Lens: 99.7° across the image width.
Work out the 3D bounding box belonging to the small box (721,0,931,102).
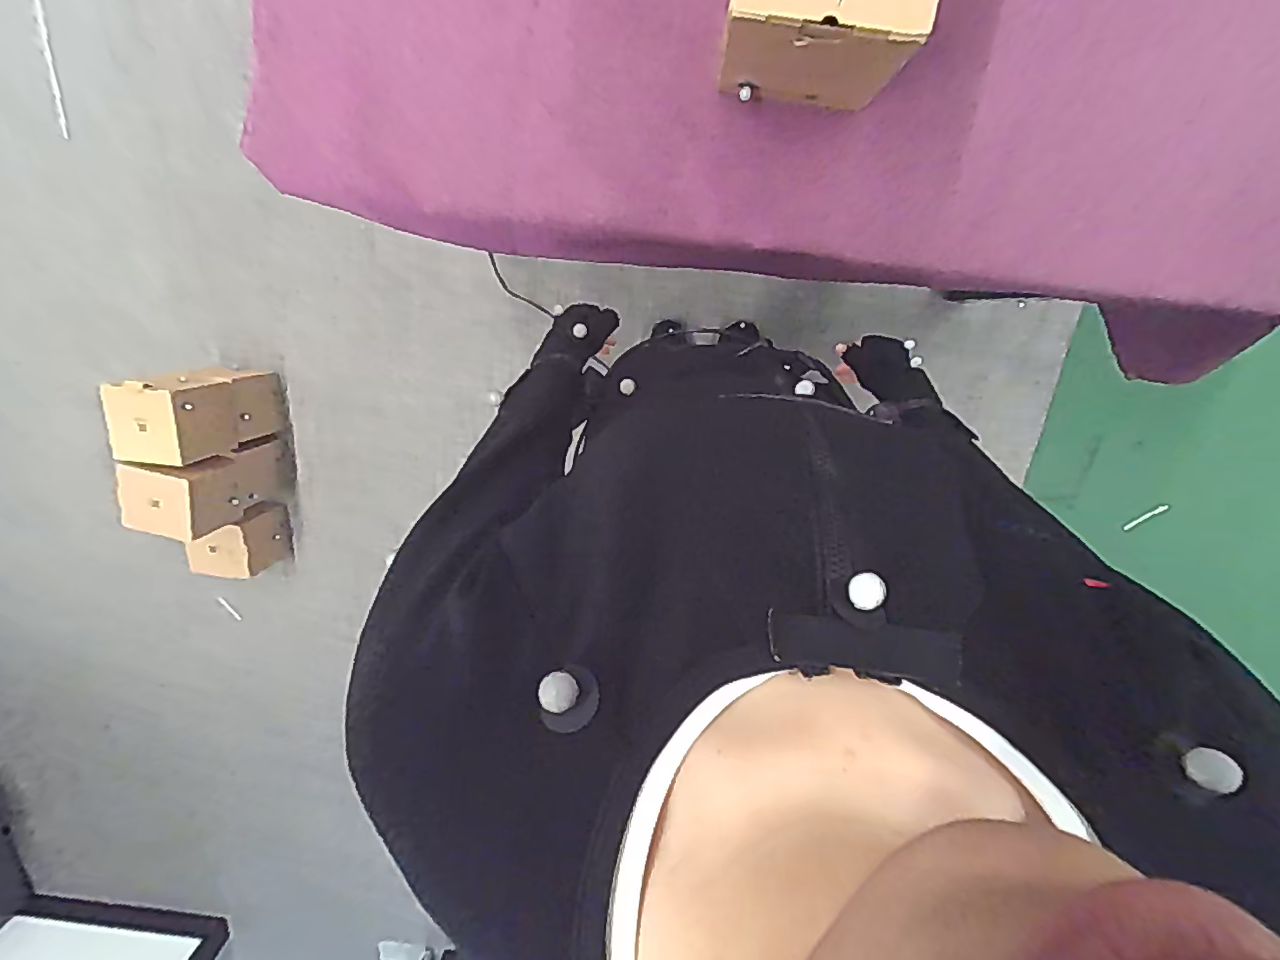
[{"bbox_3d":[0.172,-0.482,0.499,0.168,0.176,0.179,9,107,1],"label":"small box"}]
